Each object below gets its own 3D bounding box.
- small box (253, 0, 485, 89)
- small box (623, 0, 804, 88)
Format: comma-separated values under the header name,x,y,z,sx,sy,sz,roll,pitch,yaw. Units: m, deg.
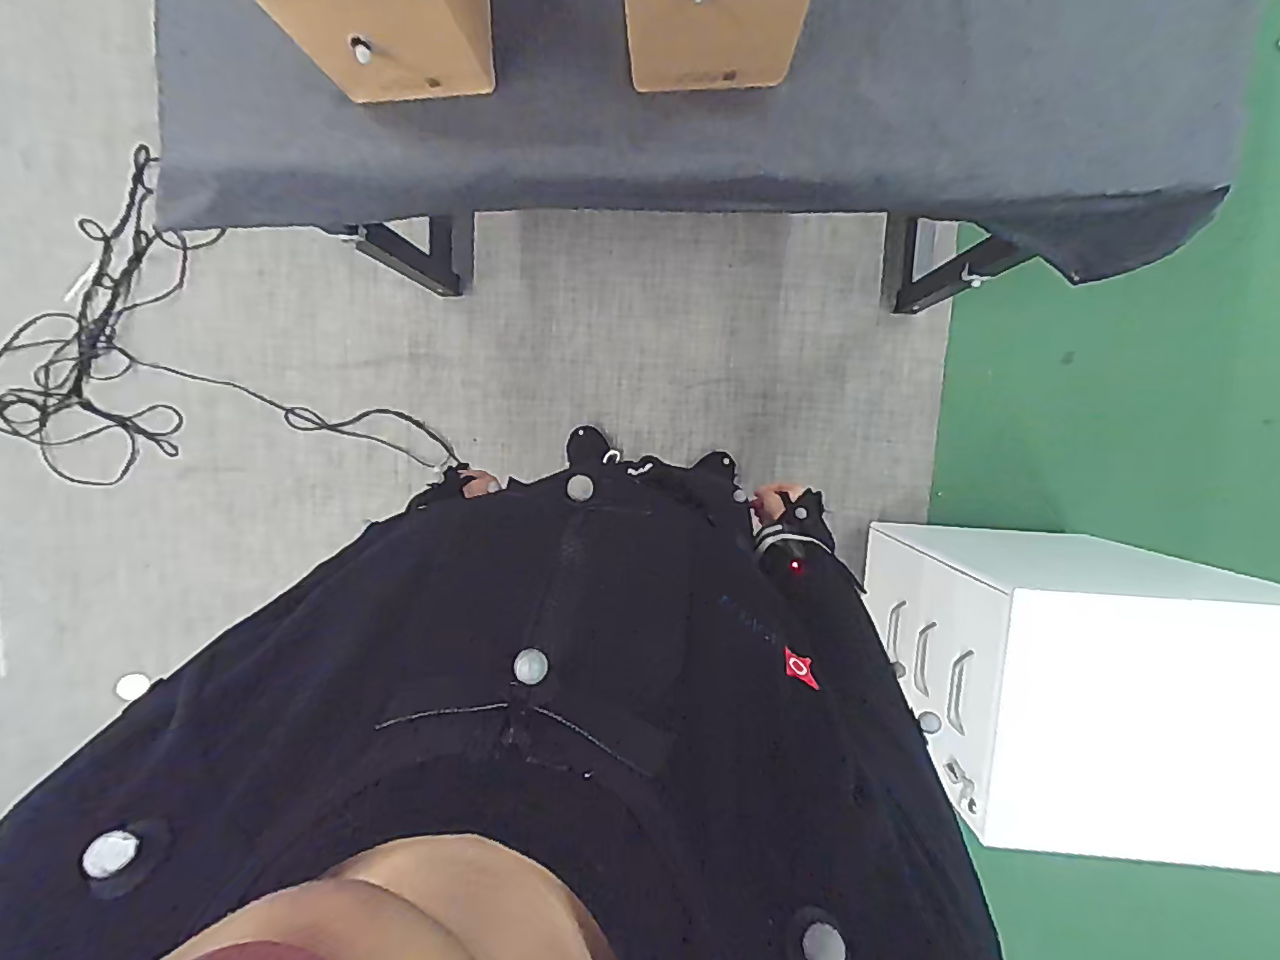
name,x,y,z,sx,sy,sz,roll,pitch,yaw
small box,-0.258,-0.513,0.523,0.168,0.176,0.179,-2,95,2
small box,0.066,-0.515,0.510,0.168,0.176,0.179,0,95,3
